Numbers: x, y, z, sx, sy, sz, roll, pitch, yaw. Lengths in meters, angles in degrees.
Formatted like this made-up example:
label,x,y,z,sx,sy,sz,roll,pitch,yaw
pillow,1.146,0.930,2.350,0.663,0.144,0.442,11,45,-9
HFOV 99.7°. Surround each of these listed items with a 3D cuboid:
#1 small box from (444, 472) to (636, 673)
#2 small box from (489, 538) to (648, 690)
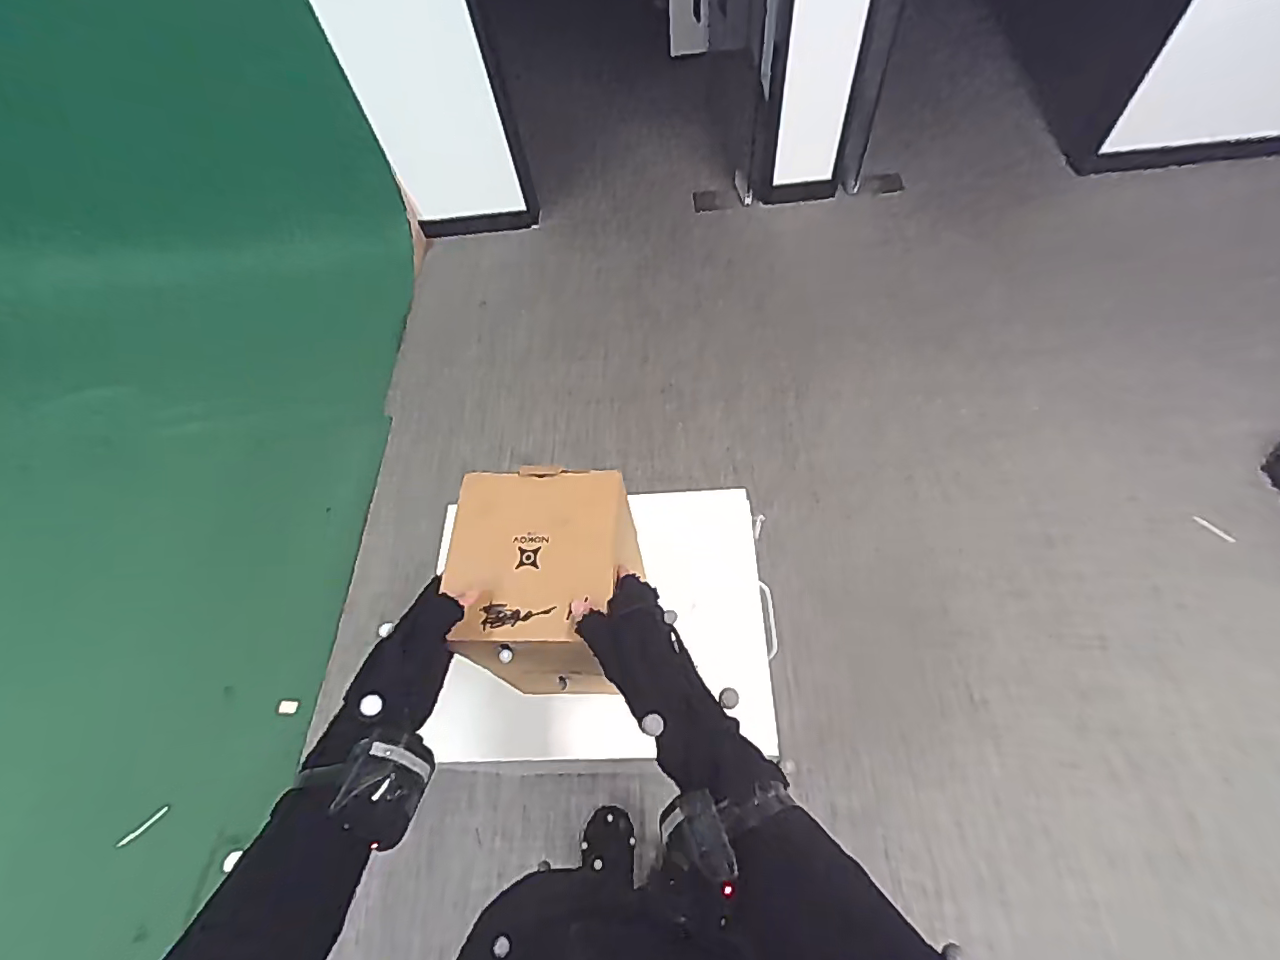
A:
label,x,y,z,sx,sy,sz,roll,pitch,yaw
small box,-0.094,0.108,0.599,0.168,0.176,0.179,-3,62,3
small box,-0.084,0.188,0.737,0.179,0.176,0.168,-2,61,4
